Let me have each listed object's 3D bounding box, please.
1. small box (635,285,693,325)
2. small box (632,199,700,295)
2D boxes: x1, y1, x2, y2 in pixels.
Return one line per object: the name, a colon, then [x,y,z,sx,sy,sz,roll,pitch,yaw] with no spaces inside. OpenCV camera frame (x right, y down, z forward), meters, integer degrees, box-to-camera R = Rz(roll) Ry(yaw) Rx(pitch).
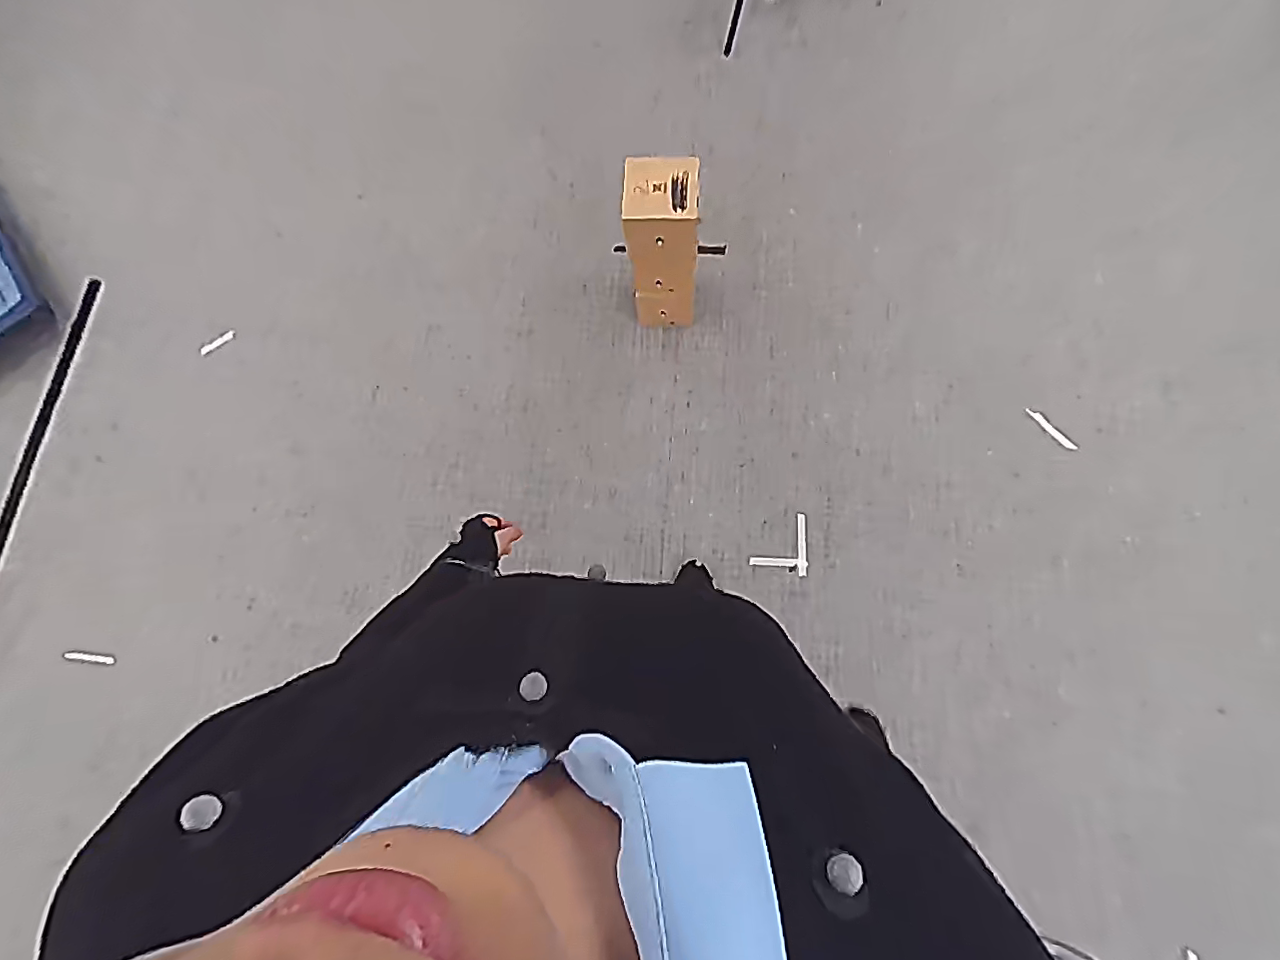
small box: [0.078,-0.586,1.631,0.168,0.176,0.179,2,76,4]
small box: [0.071,-0.632,1.475,0.168,0.176,0.179,4,77,5]
